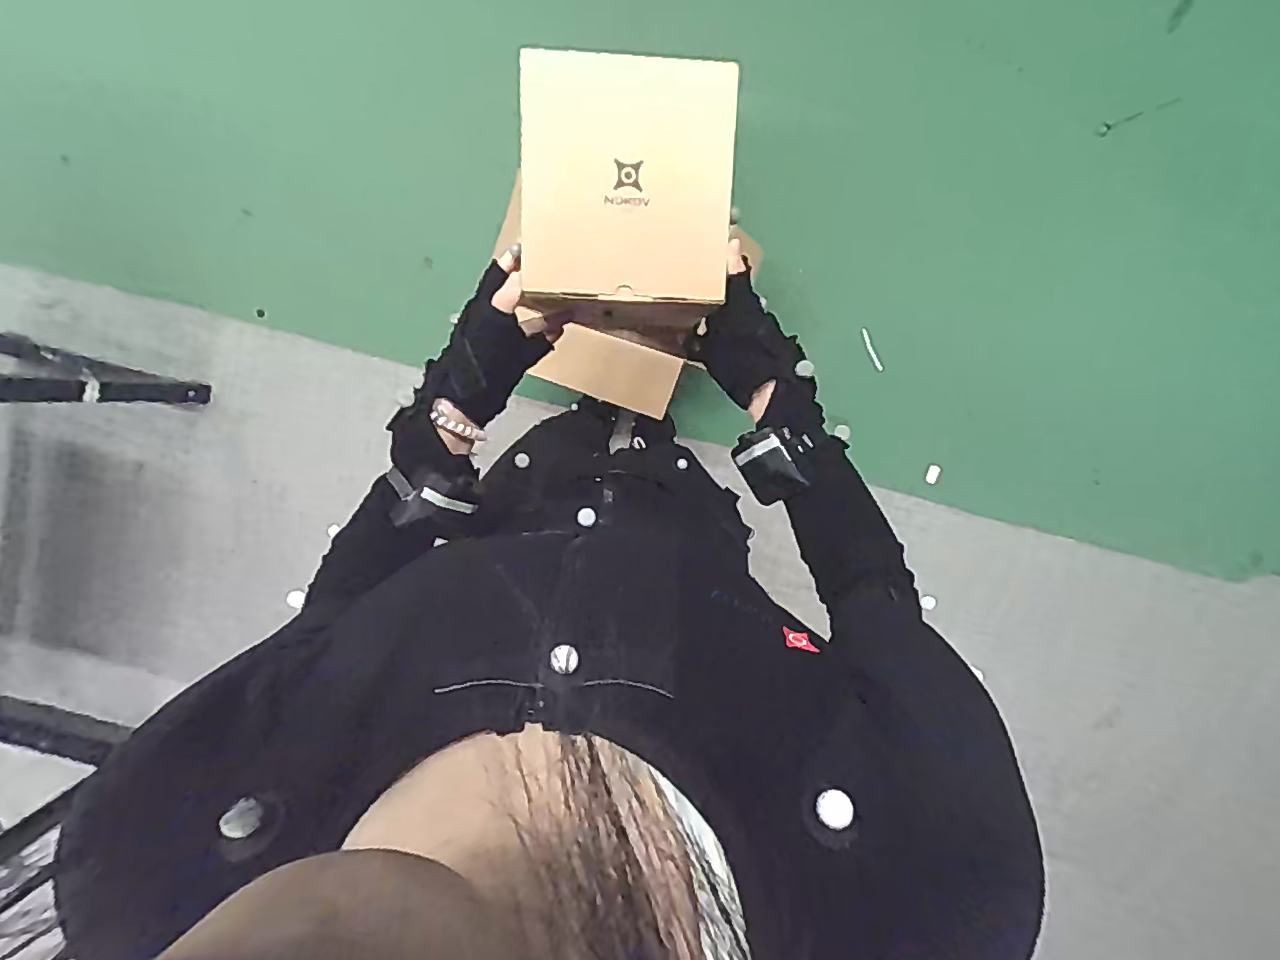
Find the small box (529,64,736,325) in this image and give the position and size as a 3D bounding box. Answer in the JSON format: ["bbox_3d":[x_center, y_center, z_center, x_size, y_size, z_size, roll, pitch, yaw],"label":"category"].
[{"bbox_3d":[-0.014,-0.247,0.513,0.168,0.176,0.179,1,102,-4],"label":"small box"}]
